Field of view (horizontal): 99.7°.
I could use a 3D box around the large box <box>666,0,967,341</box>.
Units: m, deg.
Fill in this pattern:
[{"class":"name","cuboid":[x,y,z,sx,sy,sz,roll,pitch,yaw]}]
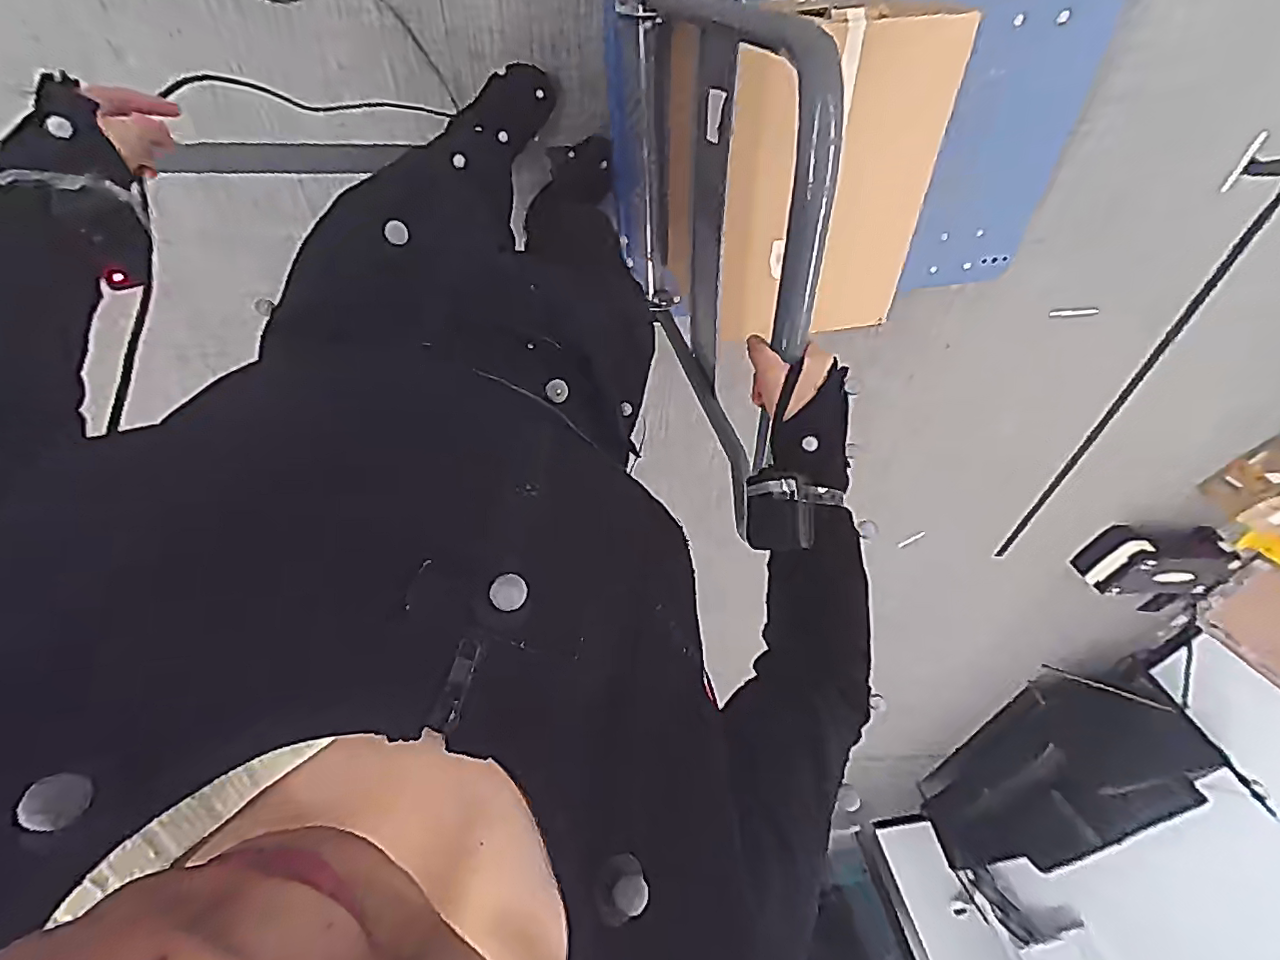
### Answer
[{"class":"large box","cuboid":[0.226,-0.495,0.869,0.320,0.320,0.408,-8,136,-5]}]
